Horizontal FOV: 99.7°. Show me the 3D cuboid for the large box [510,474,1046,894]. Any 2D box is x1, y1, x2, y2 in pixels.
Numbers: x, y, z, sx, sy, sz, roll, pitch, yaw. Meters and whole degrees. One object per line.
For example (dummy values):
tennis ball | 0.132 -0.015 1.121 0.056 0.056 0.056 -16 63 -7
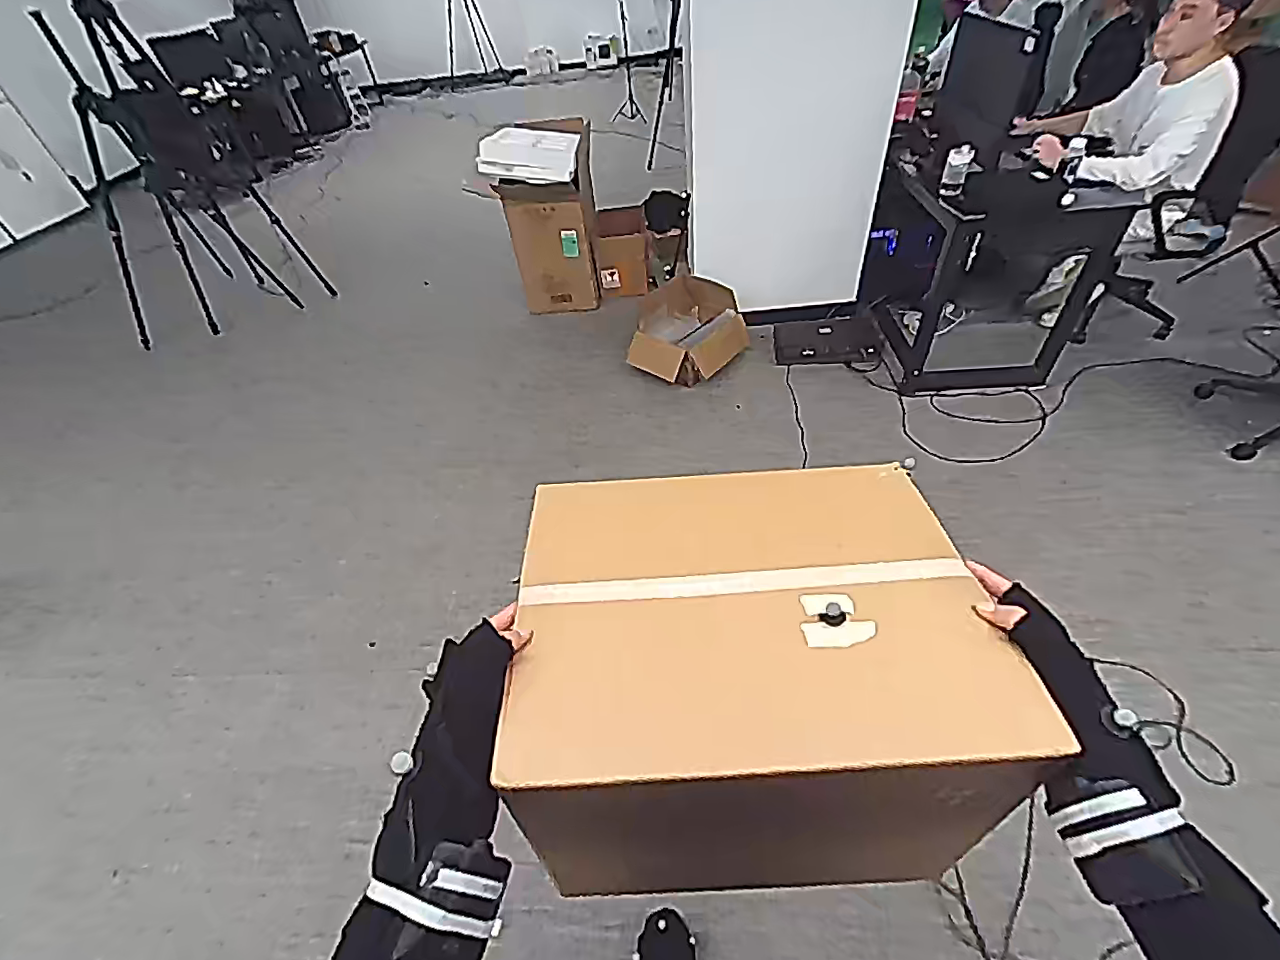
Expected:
large box | 0.101 0.219 0.600 0.408 0.320 0.320 -4 41 1
